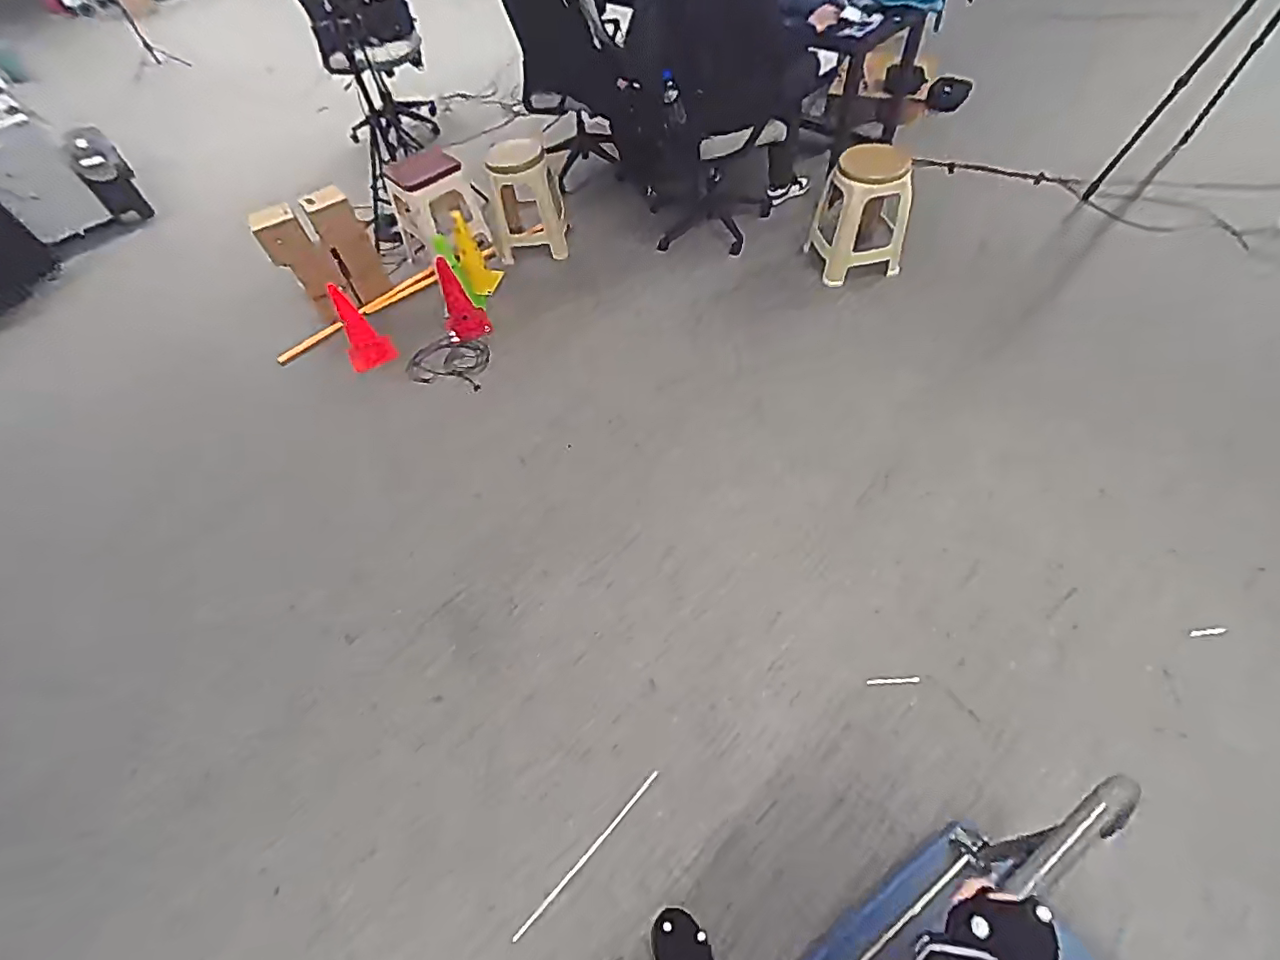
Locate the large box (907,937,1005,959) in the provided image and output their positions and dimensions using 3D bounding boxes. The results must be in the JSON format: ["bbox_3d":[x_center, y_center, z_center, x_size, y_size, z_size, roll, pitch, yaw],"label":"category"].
[{"bbox_3d":[0.543,0.999,0.792,0.320,0.320,0.408,-32,56,-16],"label":"large box"}]
